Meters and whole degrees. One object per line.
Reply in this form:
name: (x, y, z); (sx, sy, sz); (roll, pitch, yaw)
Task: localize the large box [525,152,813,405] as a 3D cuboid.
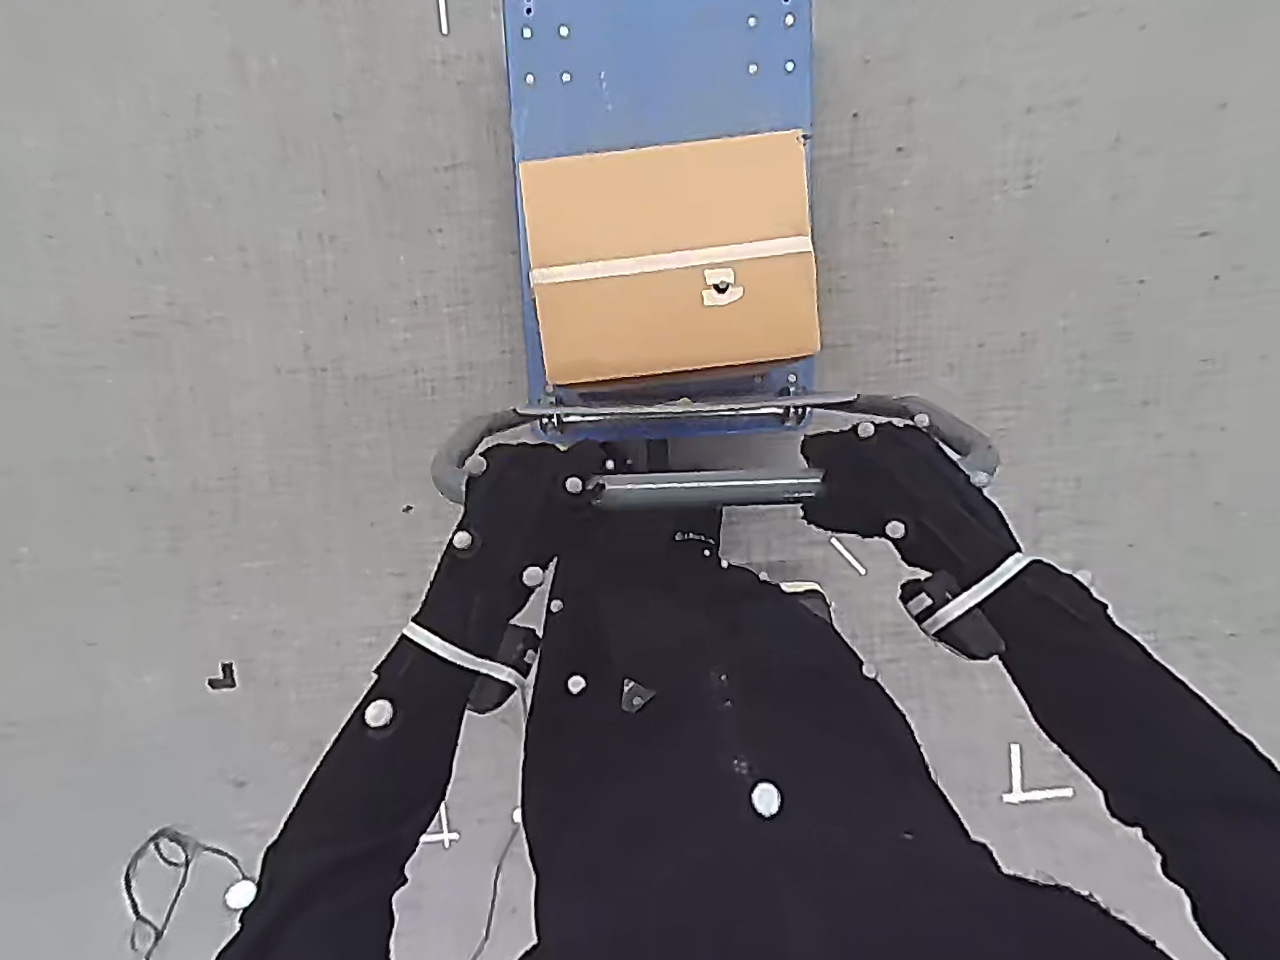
large box: (0.043, -0.315, 0.947); (0.408, 0.320, 0.320); (-7, 97, 0)
